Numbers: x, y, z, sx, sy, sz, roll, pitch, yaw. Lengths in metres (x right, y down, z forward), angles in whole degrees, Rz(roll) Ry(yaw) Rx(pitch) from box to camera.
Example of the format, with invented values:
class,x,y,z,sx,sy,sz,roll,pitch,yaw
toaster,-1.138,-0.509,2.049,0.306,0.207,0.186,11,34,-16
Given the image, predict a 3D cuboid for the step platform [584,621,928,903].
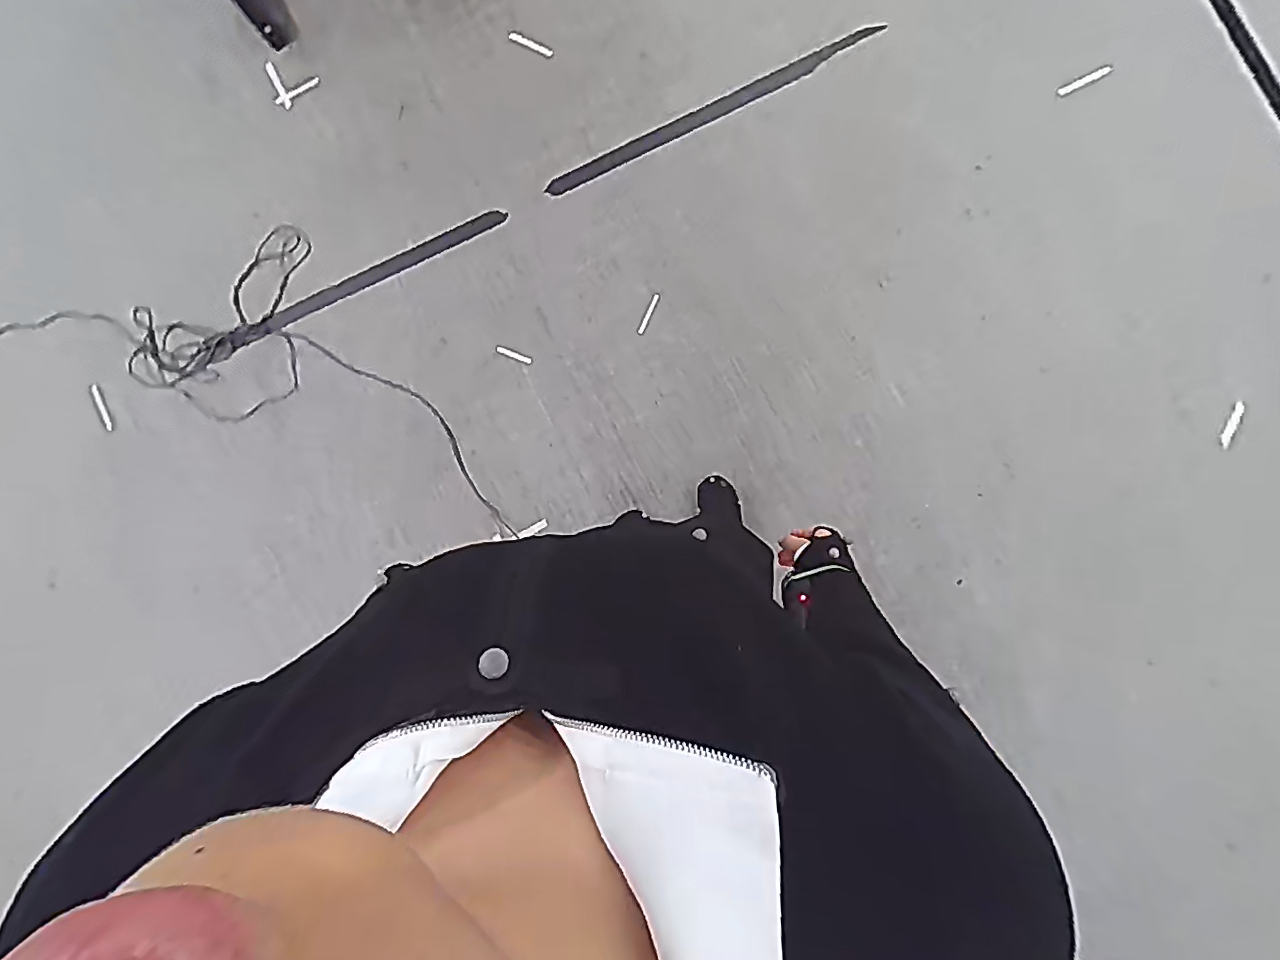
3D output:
class,x,y,z,sx,sy,sz,roll,pitch,yaw
step platform,0.230,0.577,1.162,0.684,0.204,0.286,-28,88,2
